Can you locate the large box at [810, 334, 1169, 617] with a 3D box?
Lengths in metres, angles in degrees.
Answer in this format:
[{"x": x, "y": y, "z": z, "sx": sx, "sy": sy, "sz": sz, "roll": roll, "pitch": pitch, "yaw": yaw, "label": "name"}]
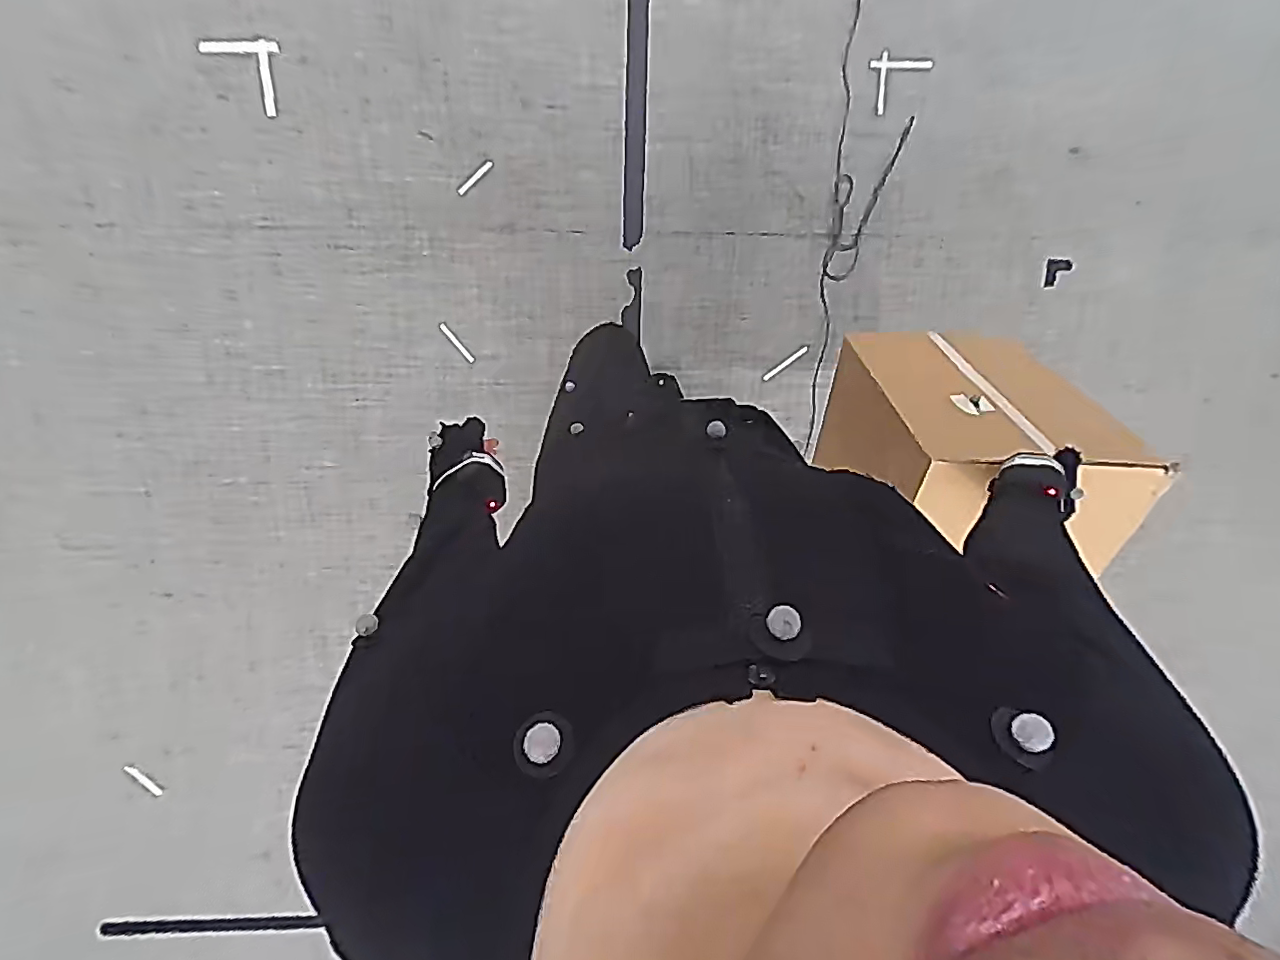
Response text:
[{"x": 0.524, "y": -0.021, "z": 0.937, "sx": 0.320, "sy": 0.408, "sz": 0.320, "roll": 1, "pitch": 129, "yaw": 0, "label": "large box"}]
